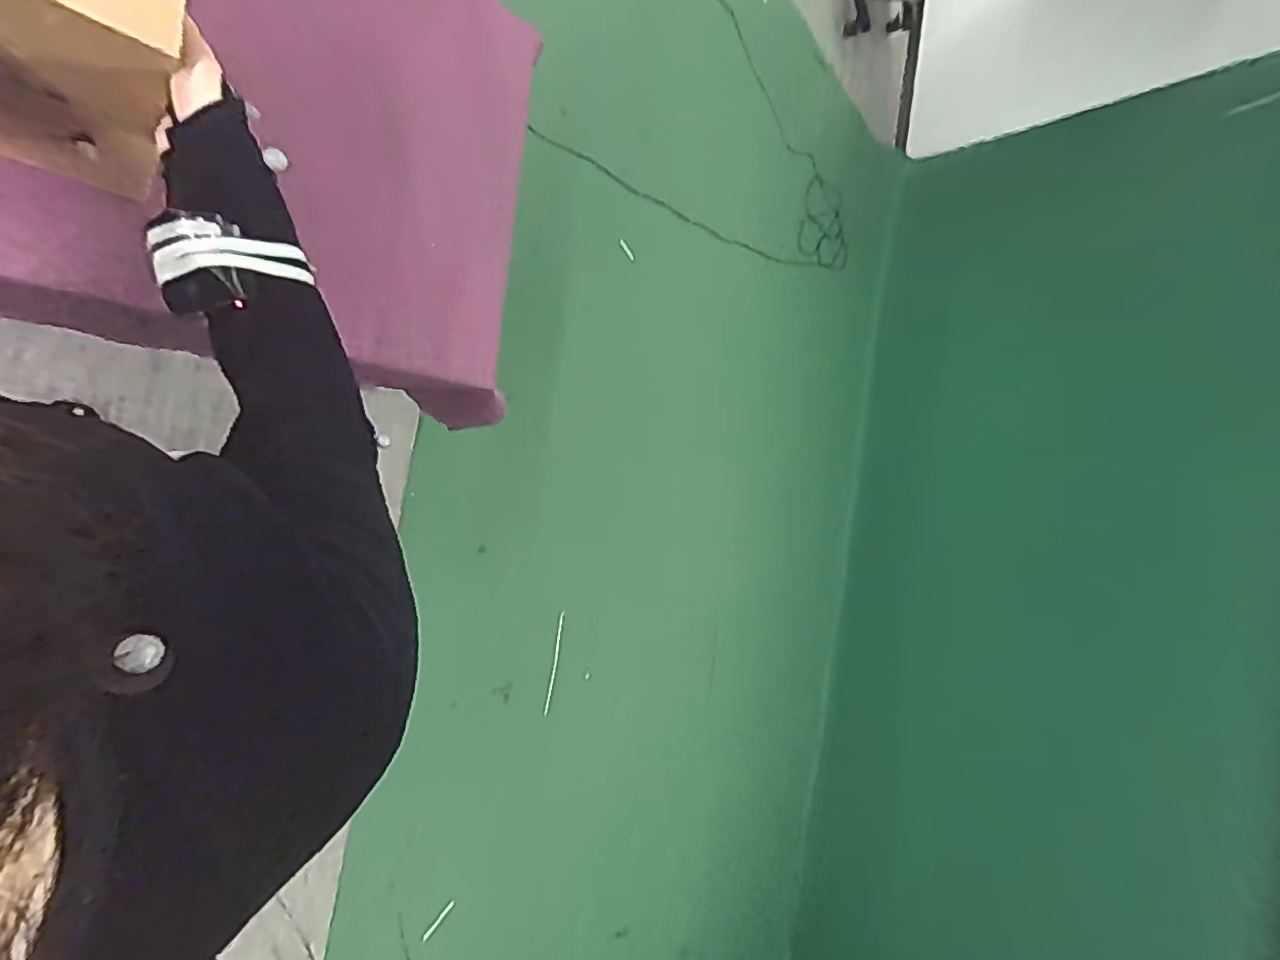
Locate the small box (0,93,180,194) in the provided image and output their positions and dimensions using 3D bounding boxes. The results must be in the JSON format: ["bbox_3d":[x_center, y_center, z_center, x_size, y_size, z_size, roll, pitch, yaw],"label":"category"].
[{"bbox_3d":[-0.529,-0.382,0.477,0.179,0.176,0.168,7,89,-46],"label":"small box"}]

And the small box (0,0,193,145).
[{"bbox_3d":[-0.412,-0.374,0.363,0.168,0.176,0.179,5,91,-45],"label":"small box"}]
